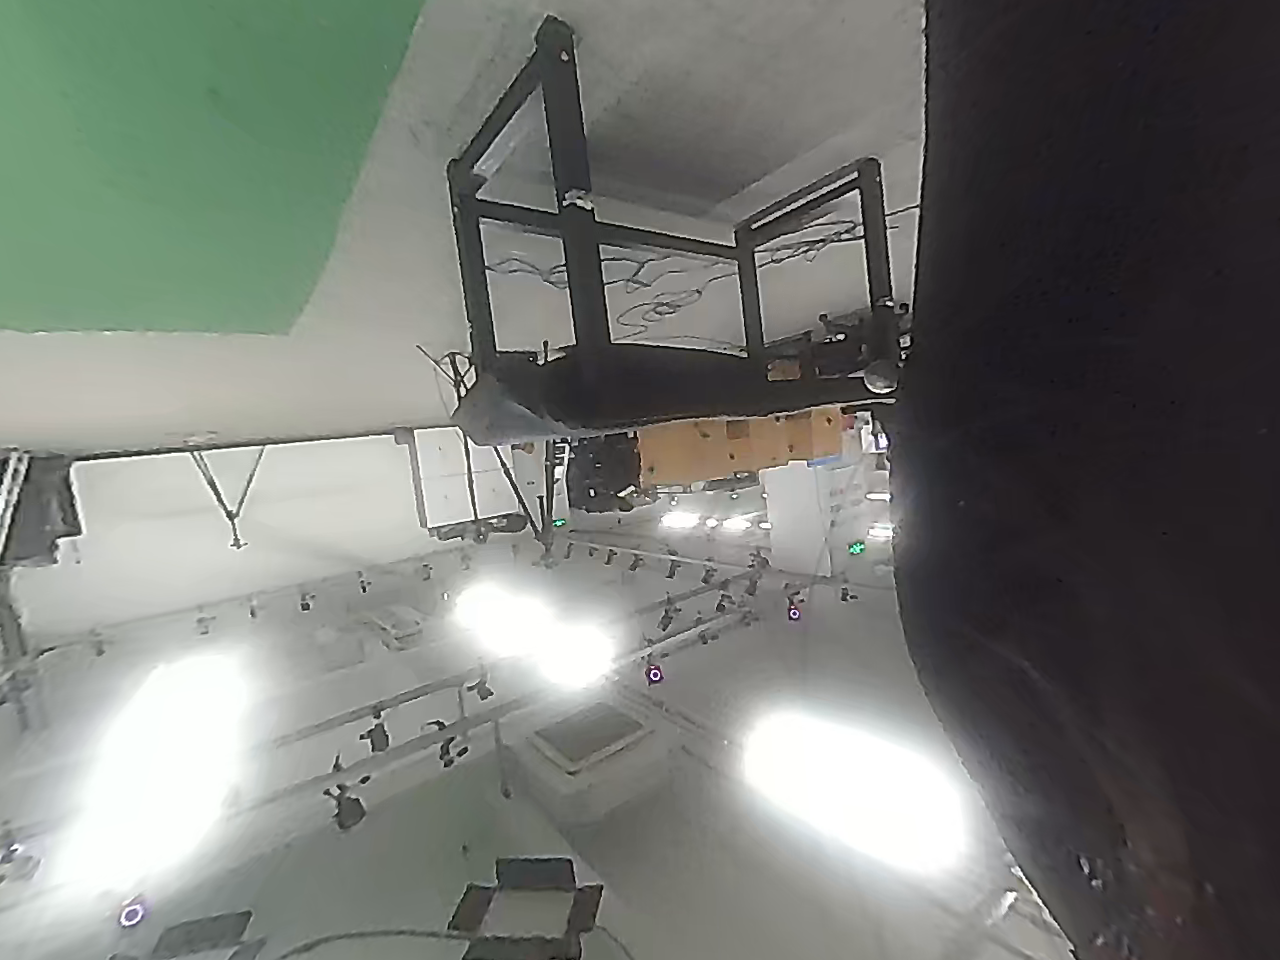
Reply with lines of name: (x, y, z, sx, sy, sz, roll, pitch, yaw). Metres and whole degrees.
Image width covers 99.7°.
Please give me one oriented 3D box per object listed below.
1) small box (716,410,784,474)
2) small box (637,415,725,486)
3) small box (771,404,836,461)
small box: (0.295, -0.115, 1.583, 0.168, 0.176, 0.179, -10, -174, -38)
small box: (0.104, -0.080, 1.437, 0.168, 0.176, 0.179, -11, -174, -37)
small box: (0.517, -0.155, 1.762, 0.168, 0.176, 0.179, -9, -174, -37)
